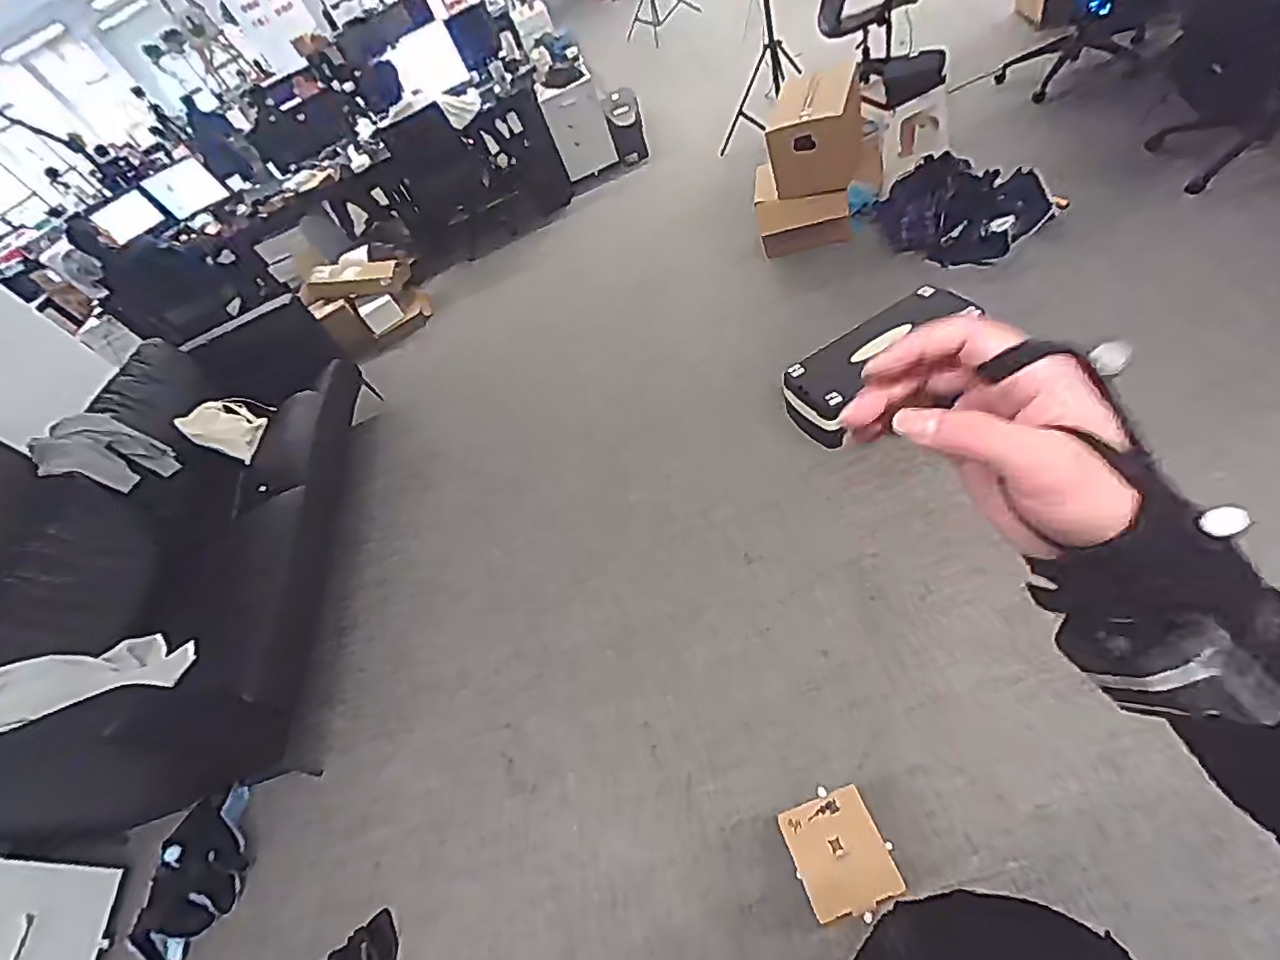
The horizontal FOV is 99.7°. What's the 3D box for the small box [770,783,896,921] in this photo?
[{"bbox_3d":[0.376,0.723,1.054,0.168,0.176,0.179,-25,48,4],"label":"small box"}]
